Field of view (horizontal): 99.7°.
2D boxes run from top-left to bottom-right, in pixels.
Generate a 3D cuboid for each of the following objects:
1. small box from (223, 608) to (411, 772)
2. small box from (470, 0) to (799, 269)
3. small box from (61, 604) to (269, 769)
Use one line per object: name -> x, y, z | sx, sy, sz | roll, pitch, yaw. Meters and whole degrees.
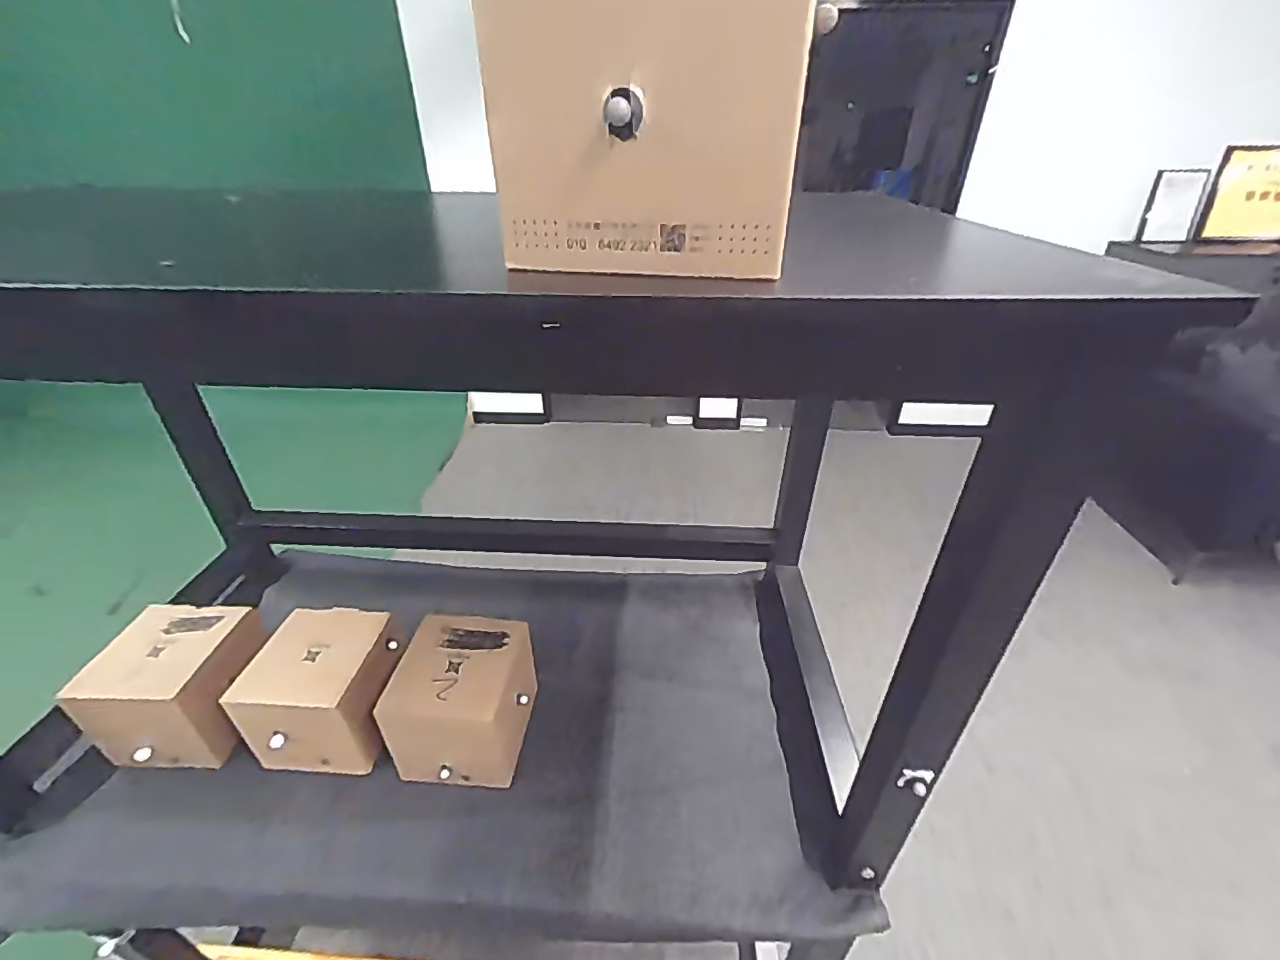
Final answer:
small box -> -0.477, 0.323, 0.836 | 0.168, 0.176, 0.179 | 2, 31, 3
small box -> 0.012, -0.239, 0.349 | 0.168, 0.176, 0.179 | 7, 32, 10
small box -> -0.704, 0.316, 0.841 | 0.168, 0.176, 0.179 | 1, 32, 1
